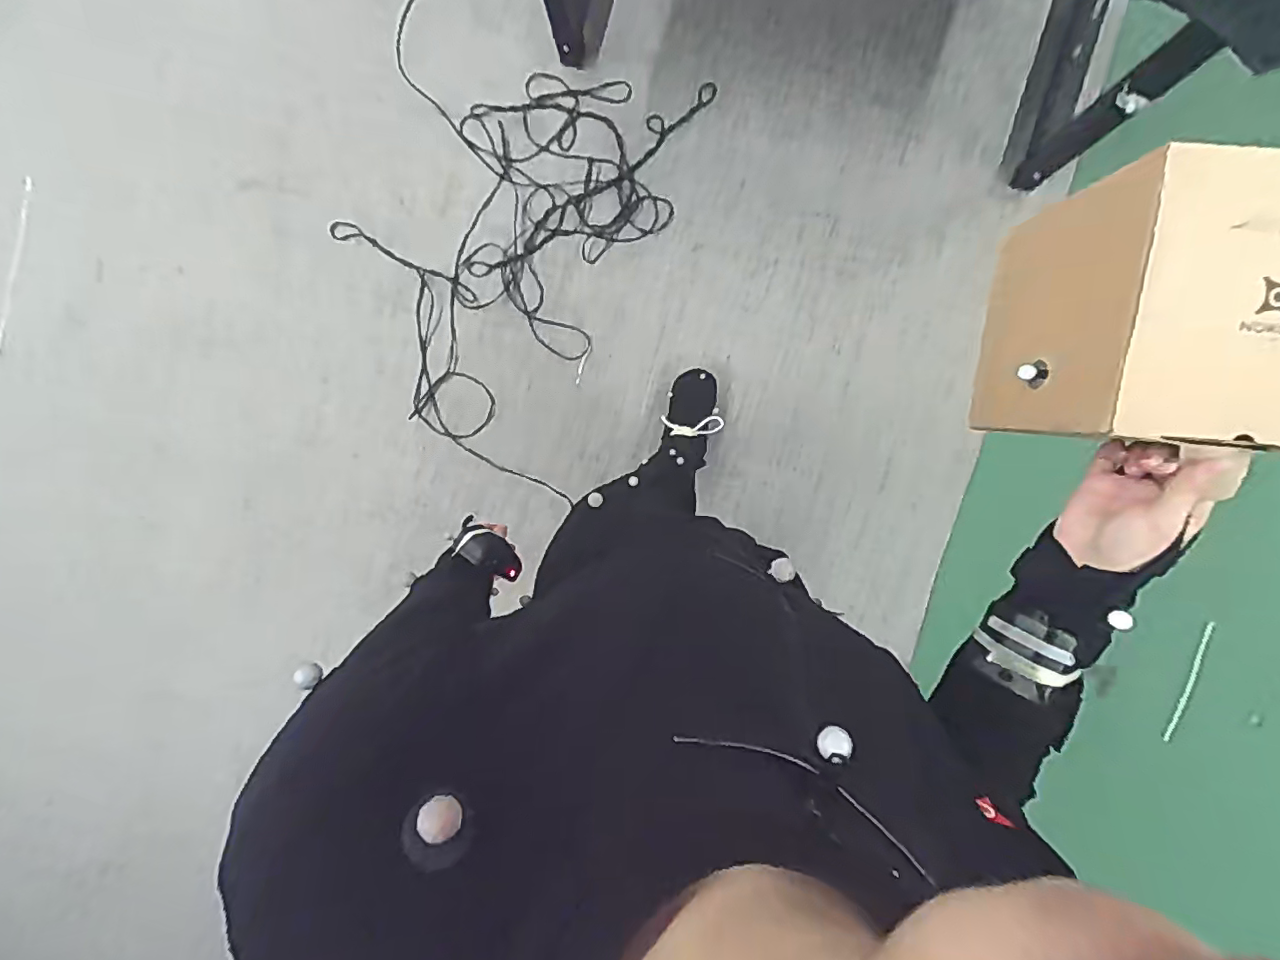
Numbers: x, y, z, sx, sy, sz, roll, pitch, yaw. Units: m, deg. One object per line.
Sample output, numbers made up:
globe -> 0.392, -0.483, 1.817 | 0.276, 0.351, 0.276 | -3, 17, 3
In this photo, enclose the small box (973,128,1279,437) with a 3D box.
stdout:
small box -> 0.383, -0.126, 0.406 | 0.168, 0.176, 0.179 | 4, 96, 2
